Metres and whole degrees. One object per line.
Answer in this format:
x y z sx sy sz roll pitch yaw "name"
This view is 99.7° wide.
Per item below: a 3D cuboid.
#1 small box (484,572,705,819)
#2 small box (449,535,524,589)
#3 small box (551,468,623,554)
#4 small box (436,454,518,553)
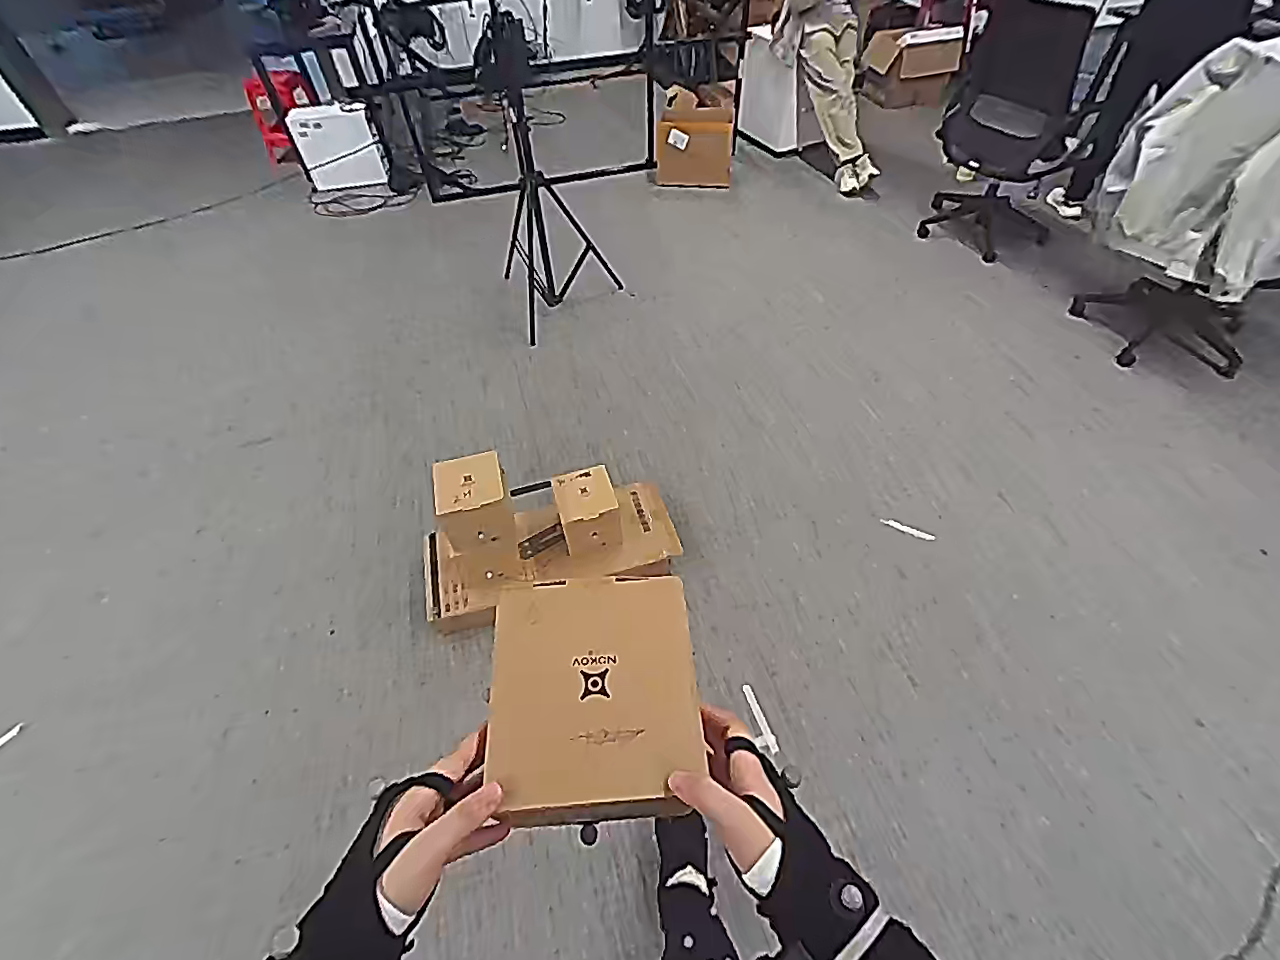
-0.042 0.204 0.508 0.168 0.176 0.179 -2 54 -4 "small box"
-0.437 0.179 1.535 0.168 0.176 0.179 -15 52 -10 "small box"
-0.153 0.098 1.590 0.168 0.176 0.179 -15 51 -10 "small box"
-0.425 0.063 1.416 0.168 0.176 0.179 -14 51 -9 "small box"
